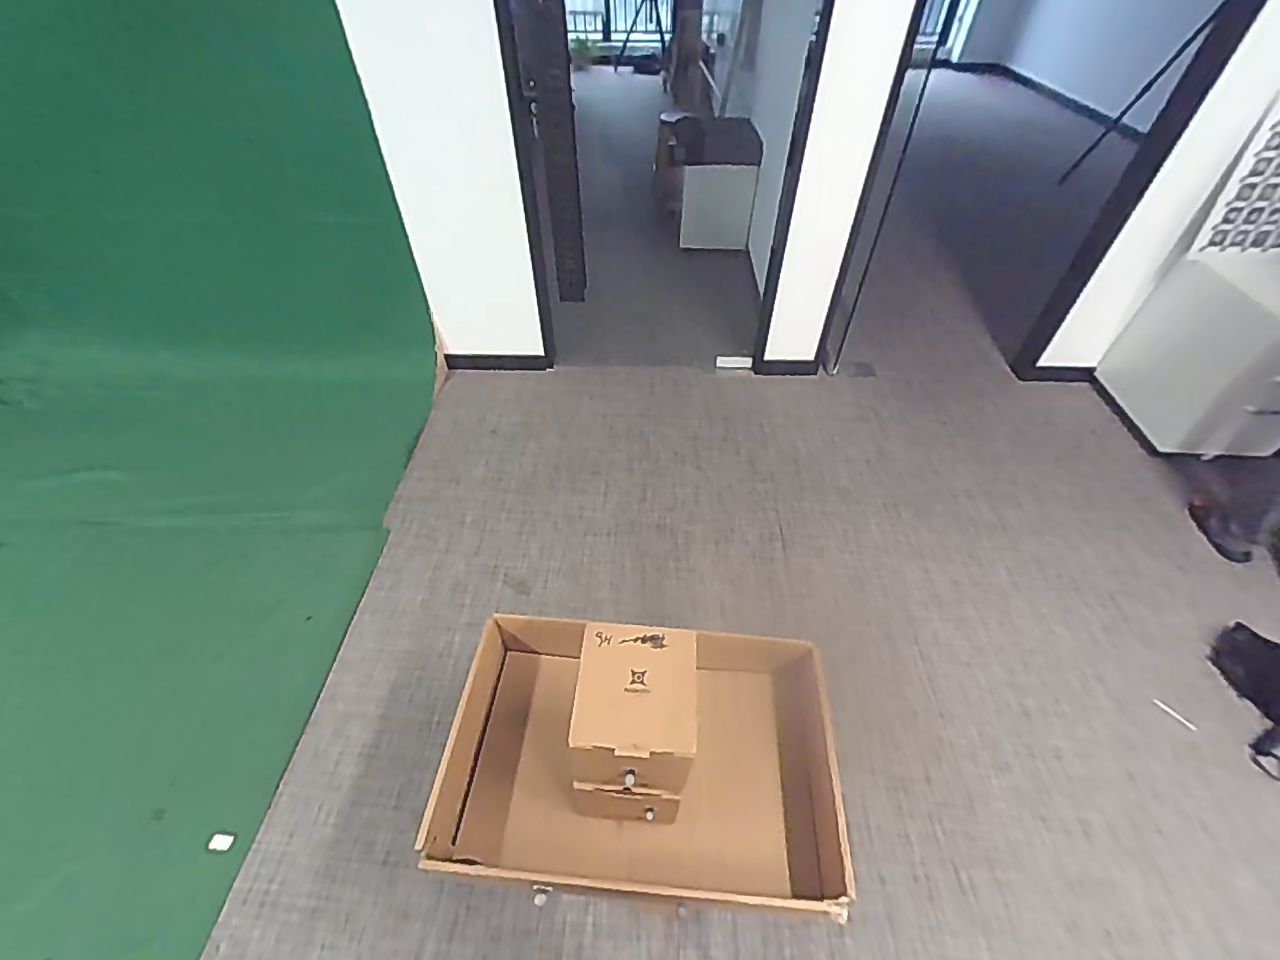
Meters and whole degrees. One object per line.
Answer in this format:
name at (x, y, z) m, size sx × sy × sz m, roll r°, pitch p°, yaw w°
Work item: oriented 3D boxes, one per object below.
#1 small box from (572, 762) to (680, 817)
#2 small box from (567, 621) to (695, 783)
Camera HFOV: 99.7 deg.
small box at (-0.017, 0.452, 0.917) m, size 0.168 × 0.176 × 0.179 m, roll 4°, pitch 45°, yaw 1°
small box at (-0.009, 0.333, 0.804) m, size 0.168 × 0.176 × 0.179 m, roll 5°, pitch 48°, yaw 1°
